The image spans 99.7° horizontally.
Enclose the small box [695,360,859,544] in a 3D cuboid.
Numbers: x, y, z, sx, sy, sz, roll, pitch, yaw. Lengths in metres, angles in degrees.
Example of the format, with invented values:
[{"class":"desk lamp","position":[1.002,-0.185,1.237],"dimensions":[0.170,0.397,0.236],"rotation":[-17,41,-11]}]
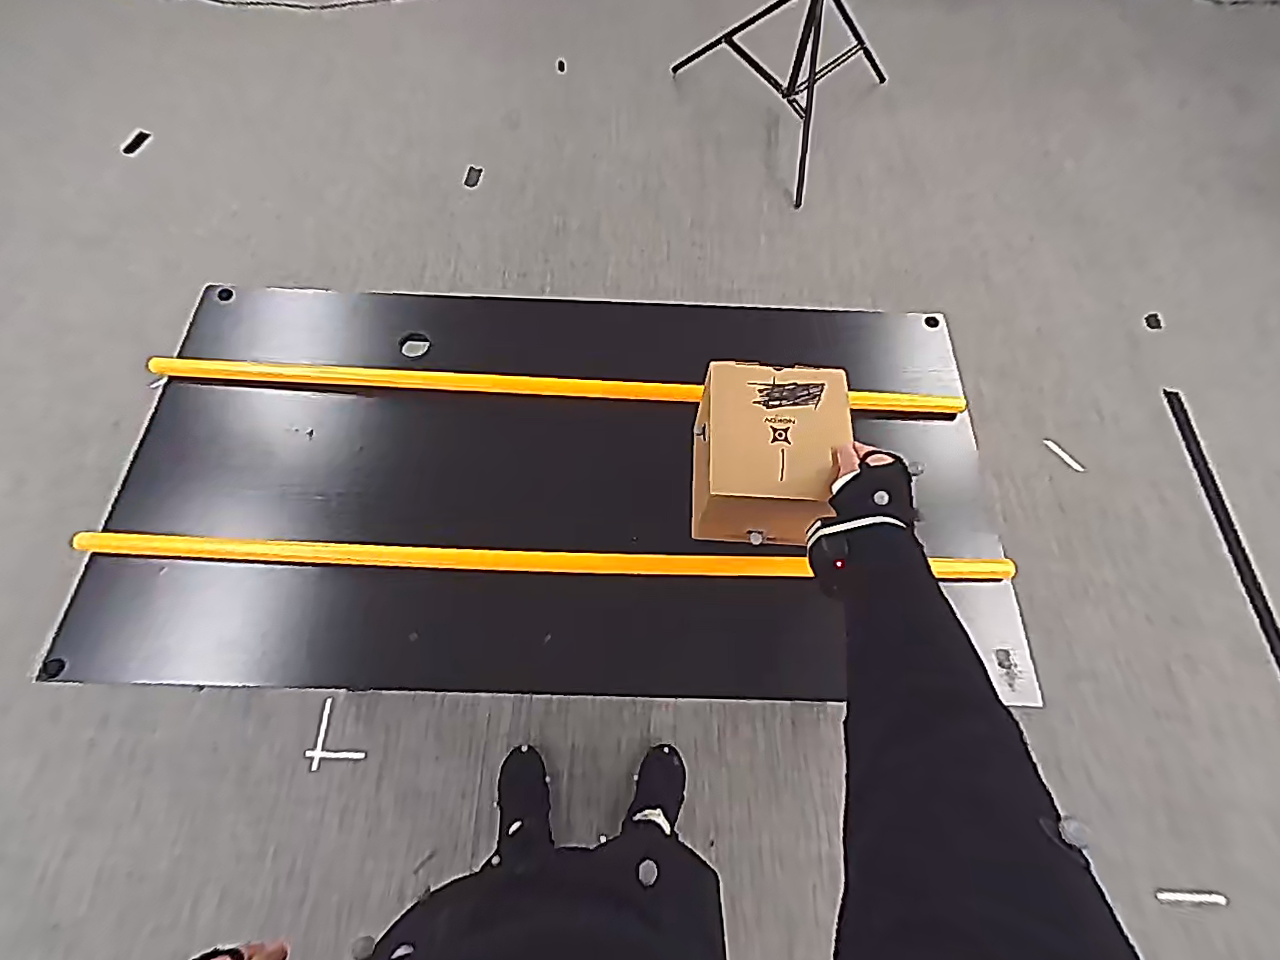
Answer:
[{"class":"small box","position":[0.162,-0.029,0.696],"dimensions":[0.168,0.176,0.179],"rotation":[4,67,1]}]
